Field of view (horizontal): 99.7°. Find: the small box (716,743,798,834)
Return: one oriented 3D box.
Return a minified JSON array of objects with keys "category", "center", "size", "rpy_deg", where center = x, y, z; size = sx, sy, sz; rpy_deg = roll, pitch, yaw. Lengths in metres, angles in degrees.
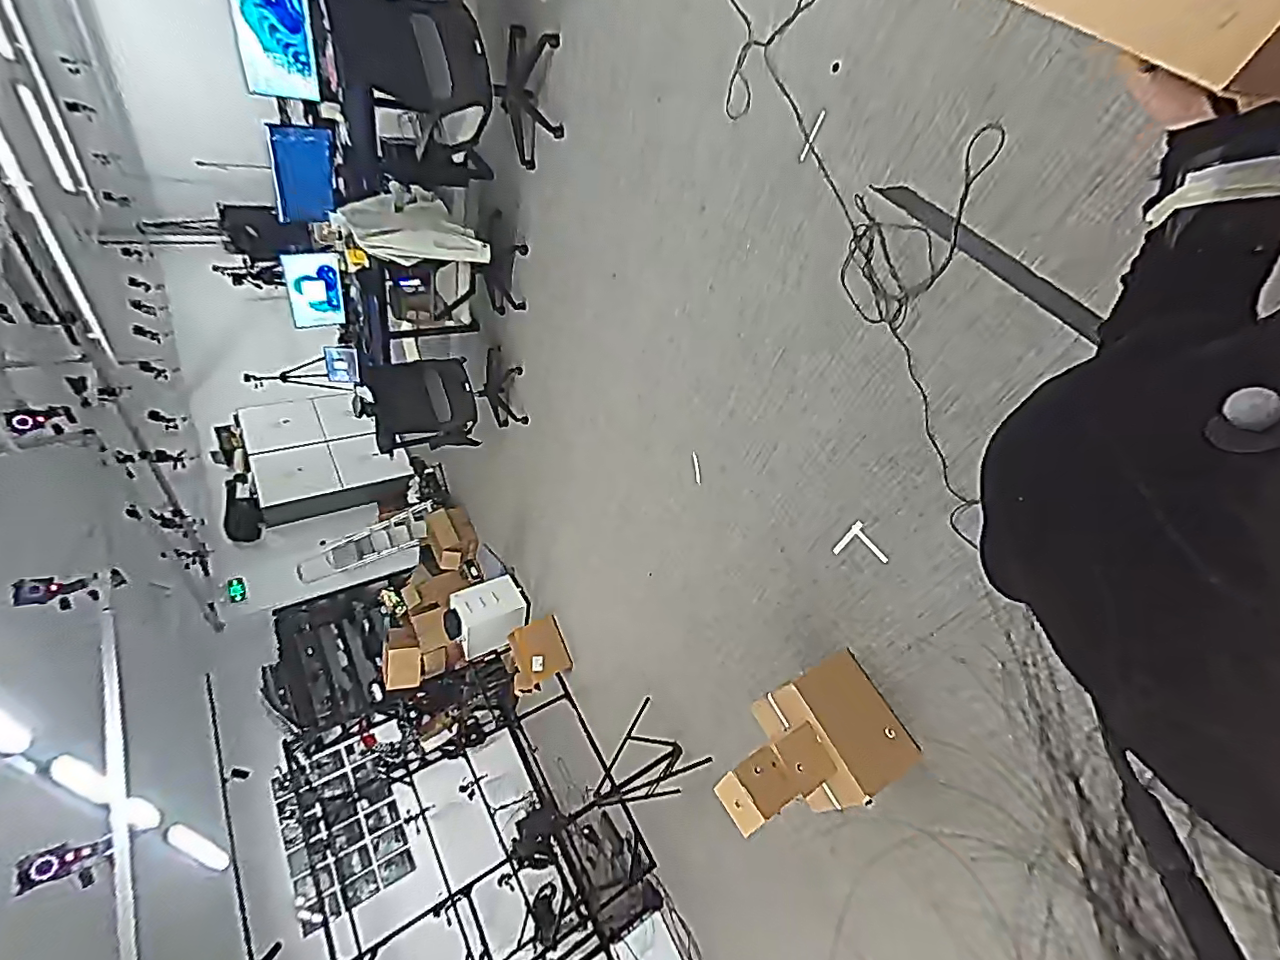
[{"category":"small box","center":[0.377,0.981,1.728],"size":[0.168,0.176,0.179],"rpy_deg":[50,142,33]}]

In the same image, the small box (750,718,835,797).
[{"category":"small box","center":[0.511,0.928,1.806],"size":[0.179,0.176,0.168],"rpy_deg":[61,145,21]}]
